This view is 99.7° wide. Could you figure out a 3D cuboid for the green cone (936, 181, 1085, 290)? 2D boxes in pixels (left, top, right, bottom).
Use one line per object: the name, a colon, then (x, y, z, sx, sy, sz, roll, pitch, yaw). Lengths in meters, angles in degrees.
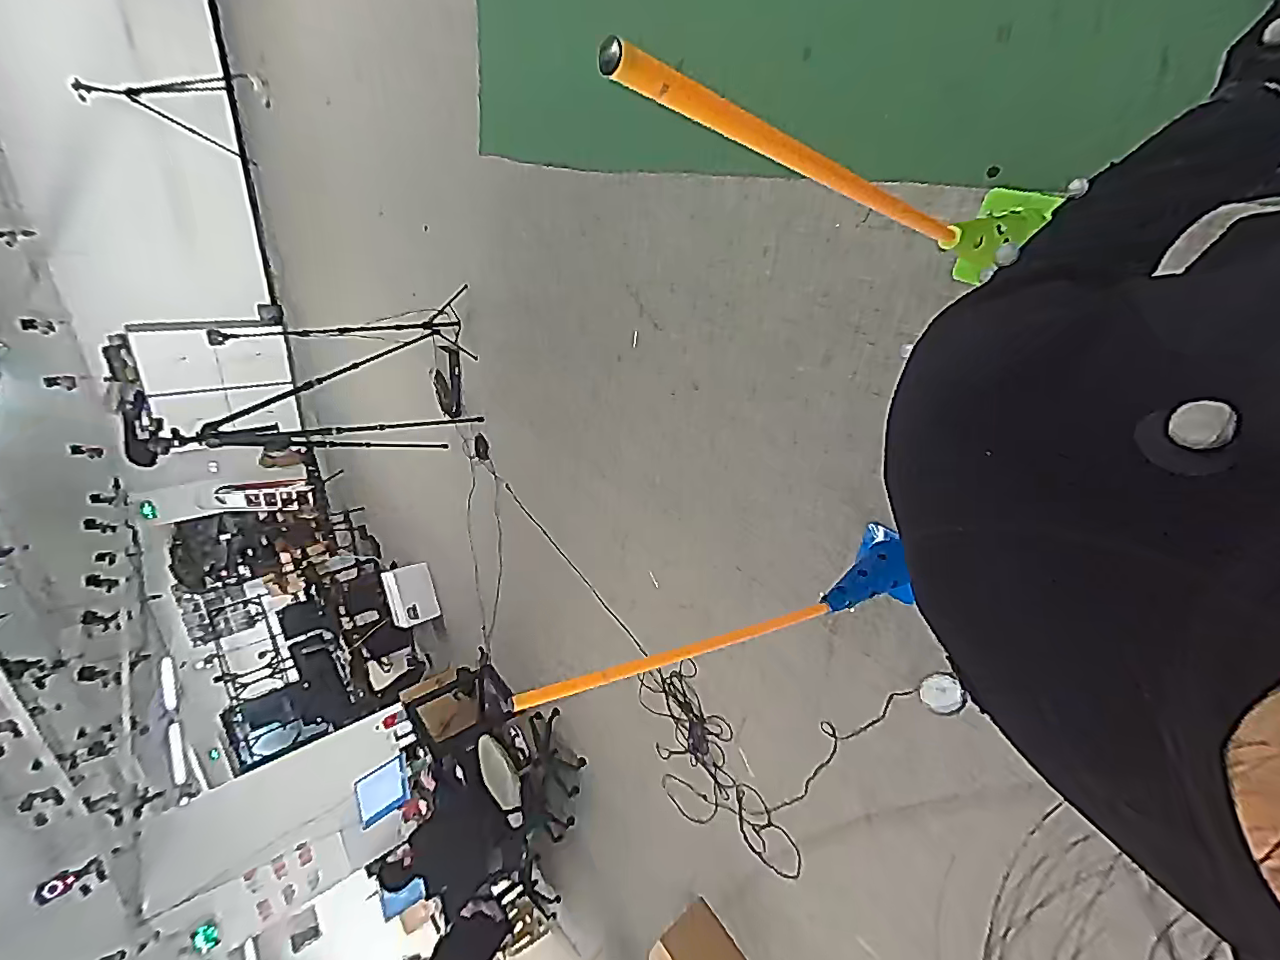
green cone: (0.712, -0.510, 1.108, 0.202, 0.368, 0.200, 37, 130, 38)
